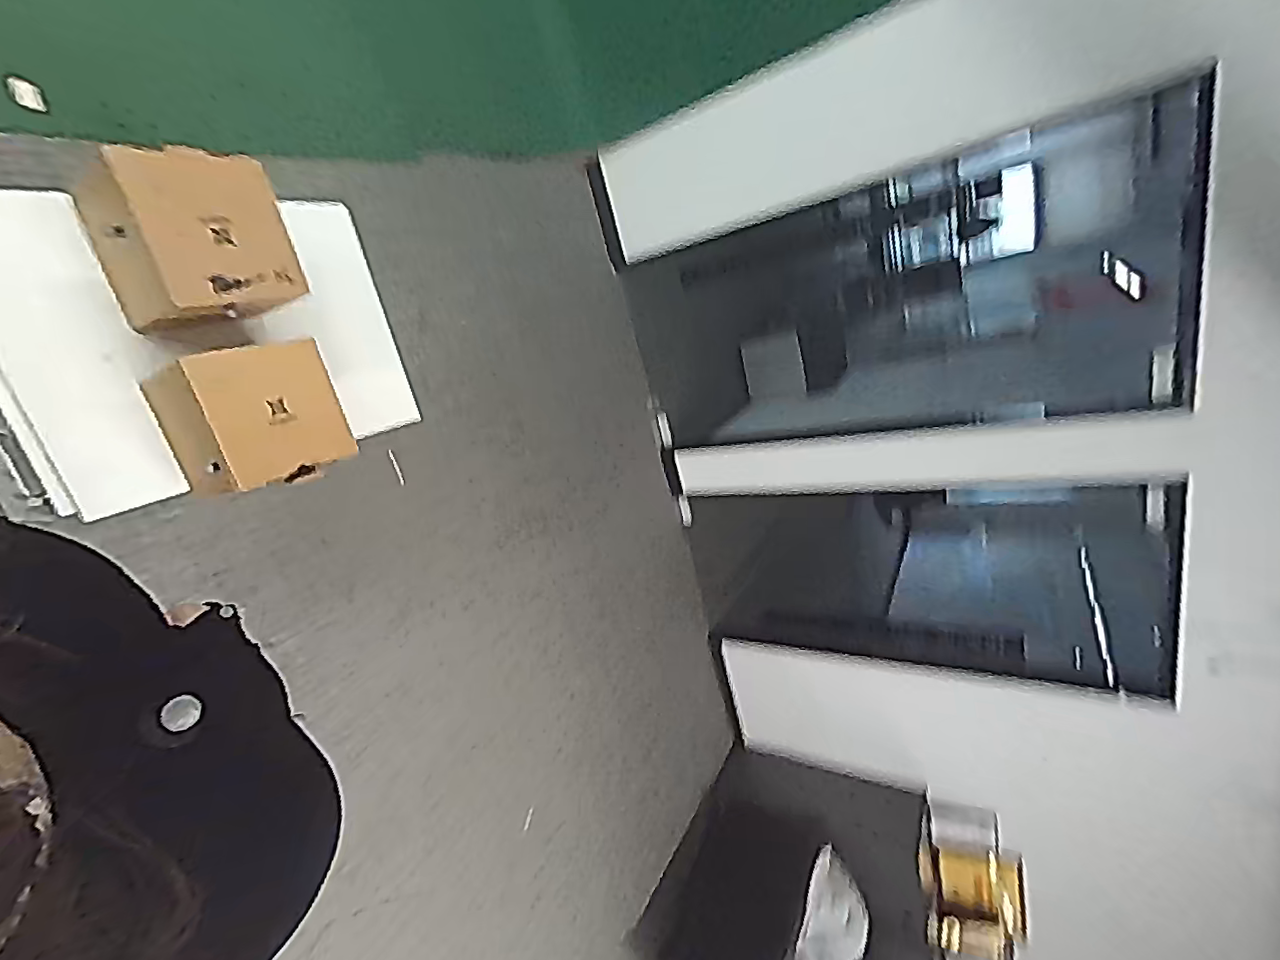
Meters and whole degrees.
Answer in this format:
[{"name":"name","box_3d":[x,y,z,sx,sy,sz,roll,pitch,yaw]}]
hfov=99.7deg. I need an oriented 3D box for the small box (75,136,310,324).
[{"name":"small box","box_3d":[-0.588,-0.319,0.715,0.168,0.176,0.179,-34,117,-50]}]
